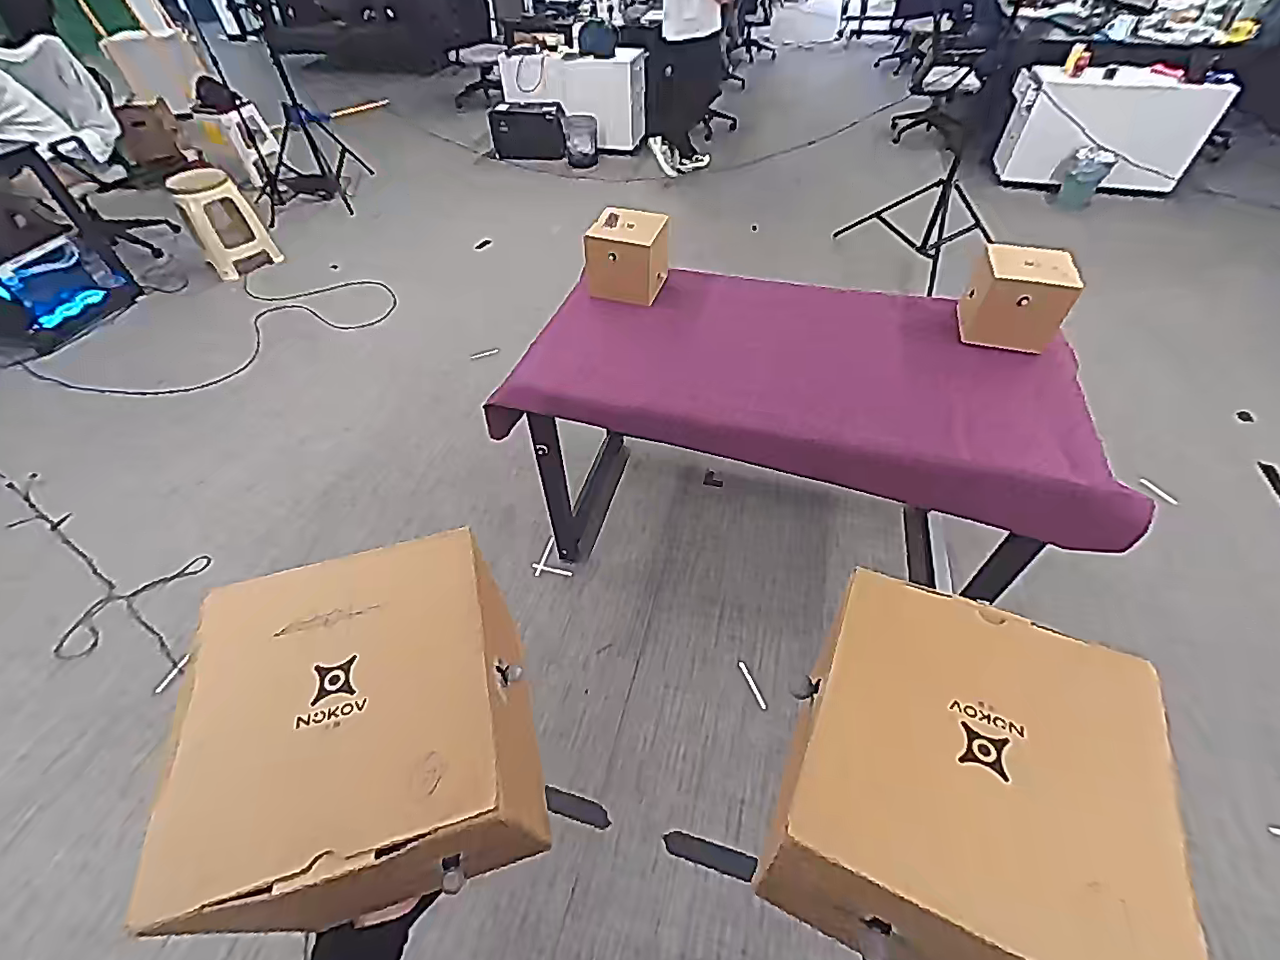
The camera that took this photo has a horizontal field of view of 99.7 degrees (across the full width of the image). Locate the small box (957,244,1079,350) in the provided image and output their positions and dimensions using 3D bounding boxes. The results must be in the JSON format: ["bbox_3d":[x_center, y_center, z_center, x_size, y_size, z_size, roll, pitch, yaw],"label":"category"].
[{"bbox_3d":[0.859,-0.422,1.254,0.179,0.176,0.168,12,51,11],"label":"small box"}]

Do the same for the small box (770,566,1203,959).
[{"bbox_3d":[0.187,0.192,0.341,0.168,0.176,0.179,17,48,20],"label":"small box"}]

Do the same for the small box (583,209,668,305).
[{"bbox_3d":[-0.034,-0.584,1.421,0.179,0.176,0.168,14,52,12],"label":"small box"}]

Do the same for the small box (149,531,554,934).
[{"bbox_3d":[-0.161,0.167,0.363,0.168,0.176,0.179,-14,51,-11],"label":"small box"}]
